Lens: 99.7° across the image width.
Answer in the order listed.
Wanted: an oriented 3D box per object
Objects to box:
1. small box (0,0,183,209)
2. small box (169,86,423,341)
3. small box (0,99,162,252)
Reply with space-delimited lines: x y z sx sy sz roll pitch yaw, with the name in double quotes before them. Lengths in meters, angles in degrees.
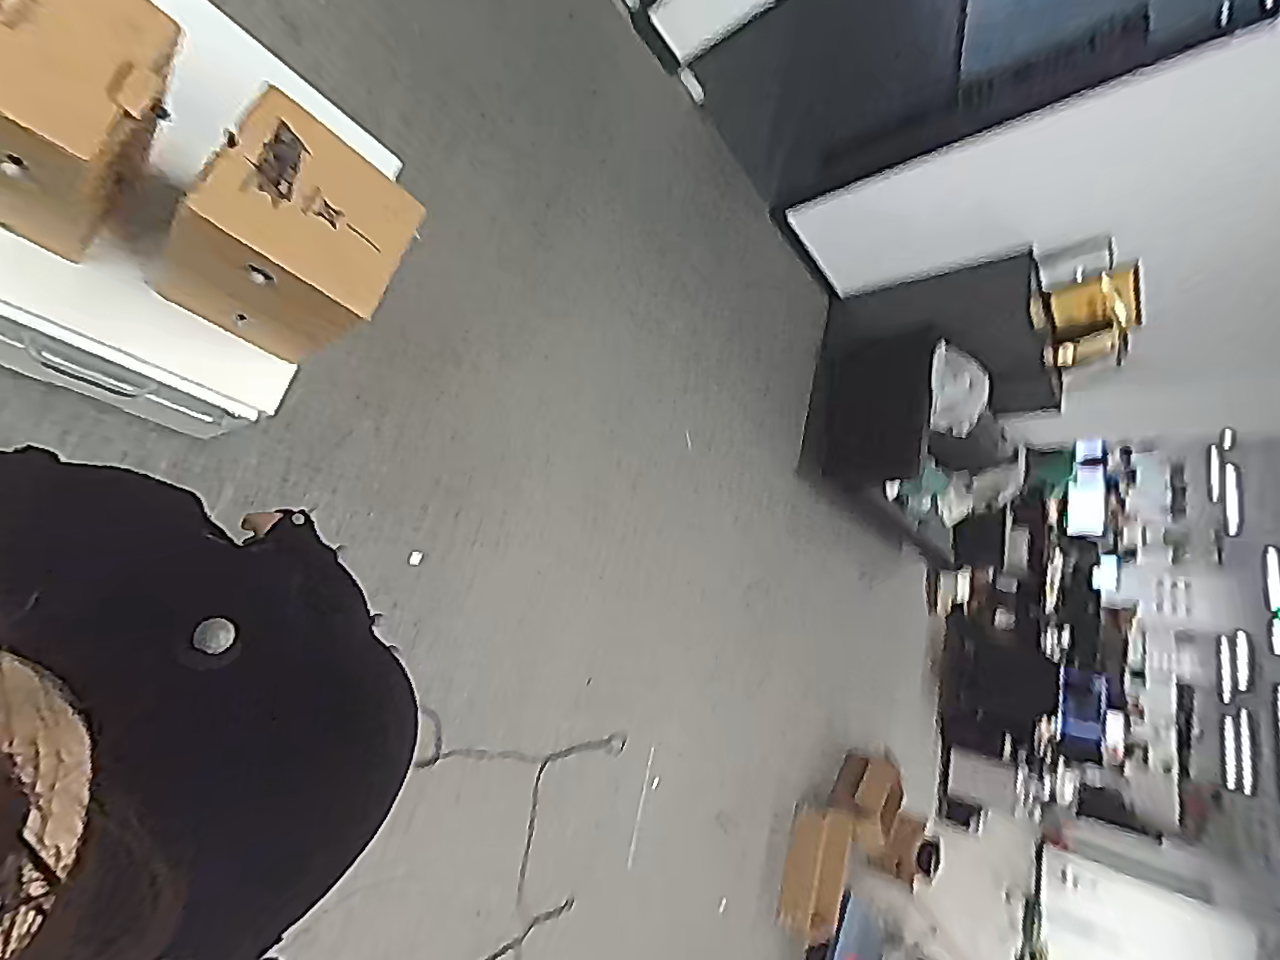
"small box" -0.545 -0.364 0.460 0.179 0.176 0.168 31 66 -43
"small box" -0.393 -0.282 0.620 0.179 0.176 0.168 34 65 -41
"small box" -0.661 -0.378 0.574 0.168 0.176 0.179 33 65 -44
